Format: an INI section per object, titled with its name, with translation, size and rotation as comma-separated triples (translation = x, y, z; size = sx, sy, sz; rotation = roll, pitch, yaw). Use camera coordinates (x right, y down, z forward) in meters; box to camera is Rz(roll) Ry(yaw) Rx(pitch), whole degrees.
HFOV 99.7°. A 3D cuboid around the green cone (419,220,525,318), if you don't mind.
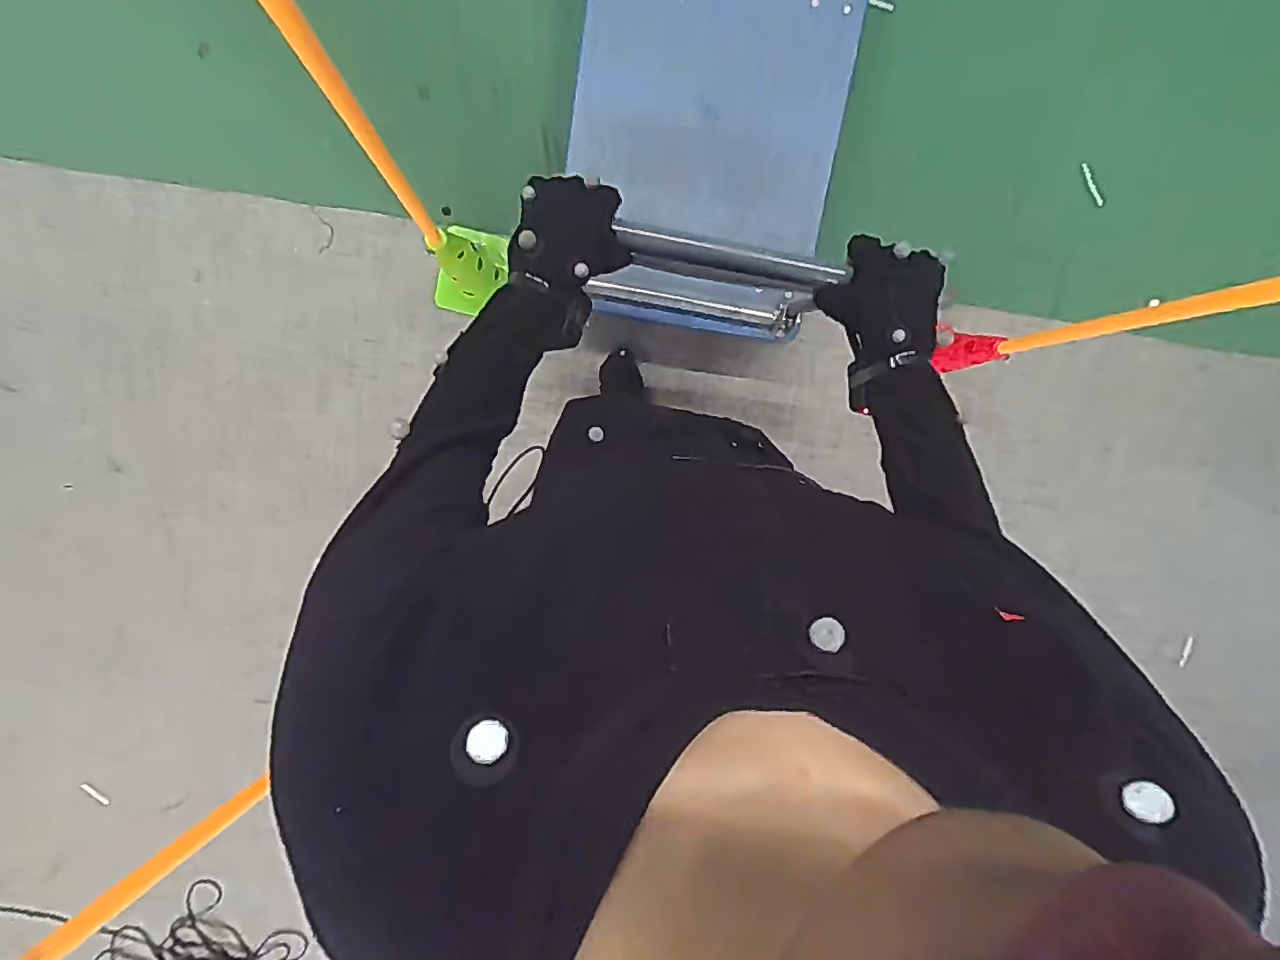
[green cone]
translation = -0.393, -0.496, 1.181
size = 0.202, 0.368, 0.200
rotation = 12, 99, -4
